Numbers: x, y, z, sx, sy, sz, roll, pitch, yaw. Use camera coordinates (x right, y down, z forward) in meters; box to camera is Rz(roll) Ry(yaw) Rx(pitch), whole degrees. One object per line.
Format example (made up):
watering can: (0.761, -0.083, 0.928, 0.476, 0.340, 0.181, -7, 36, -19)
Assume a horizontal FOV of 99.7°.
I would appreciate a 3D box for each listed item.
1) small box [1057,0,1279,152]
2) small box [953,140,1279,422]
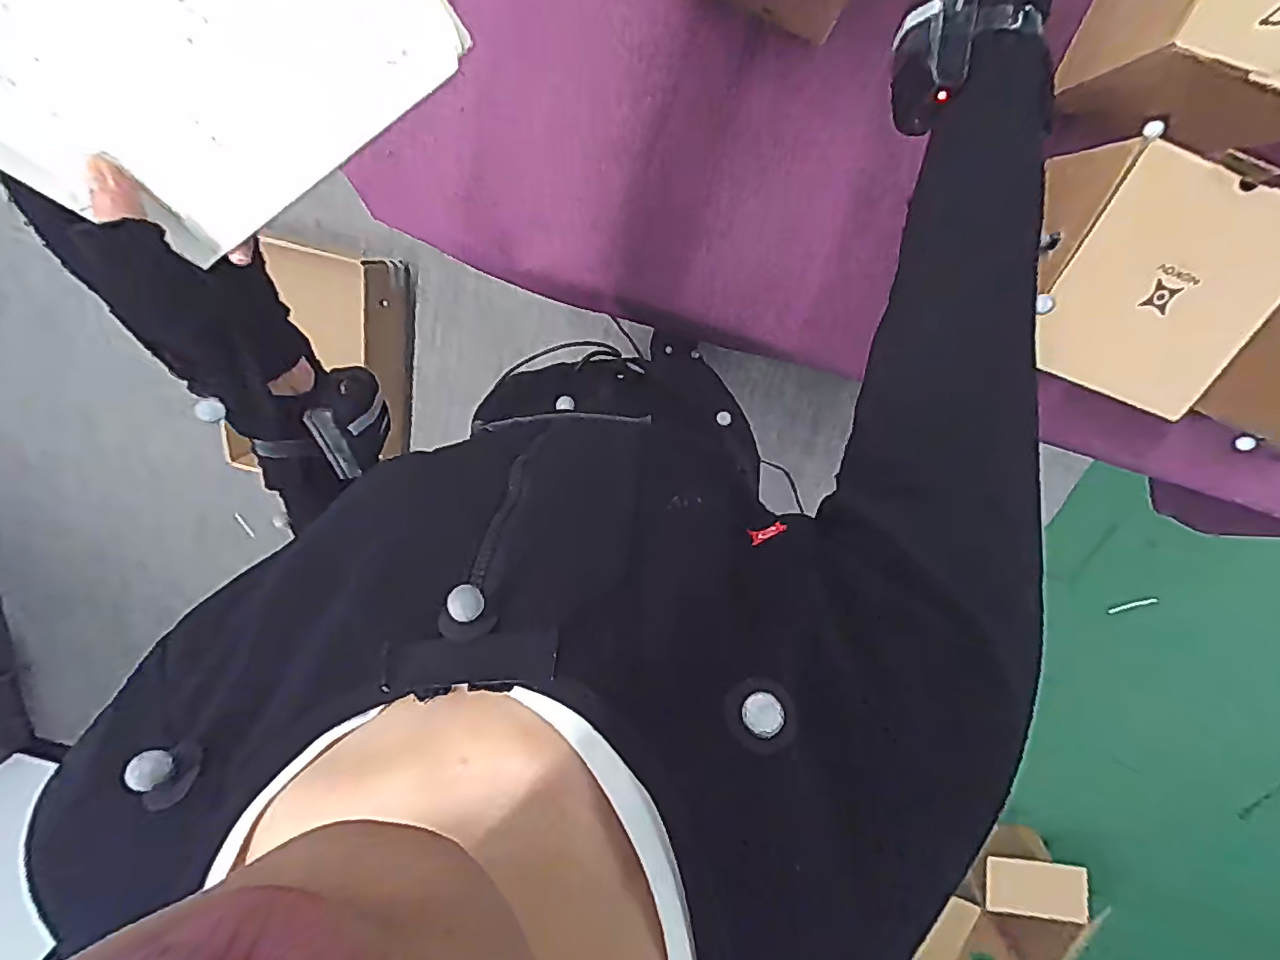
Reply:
small box: (0.480, -0.381, 0.413, 0.168, 0.176, 0.179, 19, 115, -1)
small box: (0.434, -0.185, 0.511, 0.168, 0.176, 0.179, 21, 116, -2)
